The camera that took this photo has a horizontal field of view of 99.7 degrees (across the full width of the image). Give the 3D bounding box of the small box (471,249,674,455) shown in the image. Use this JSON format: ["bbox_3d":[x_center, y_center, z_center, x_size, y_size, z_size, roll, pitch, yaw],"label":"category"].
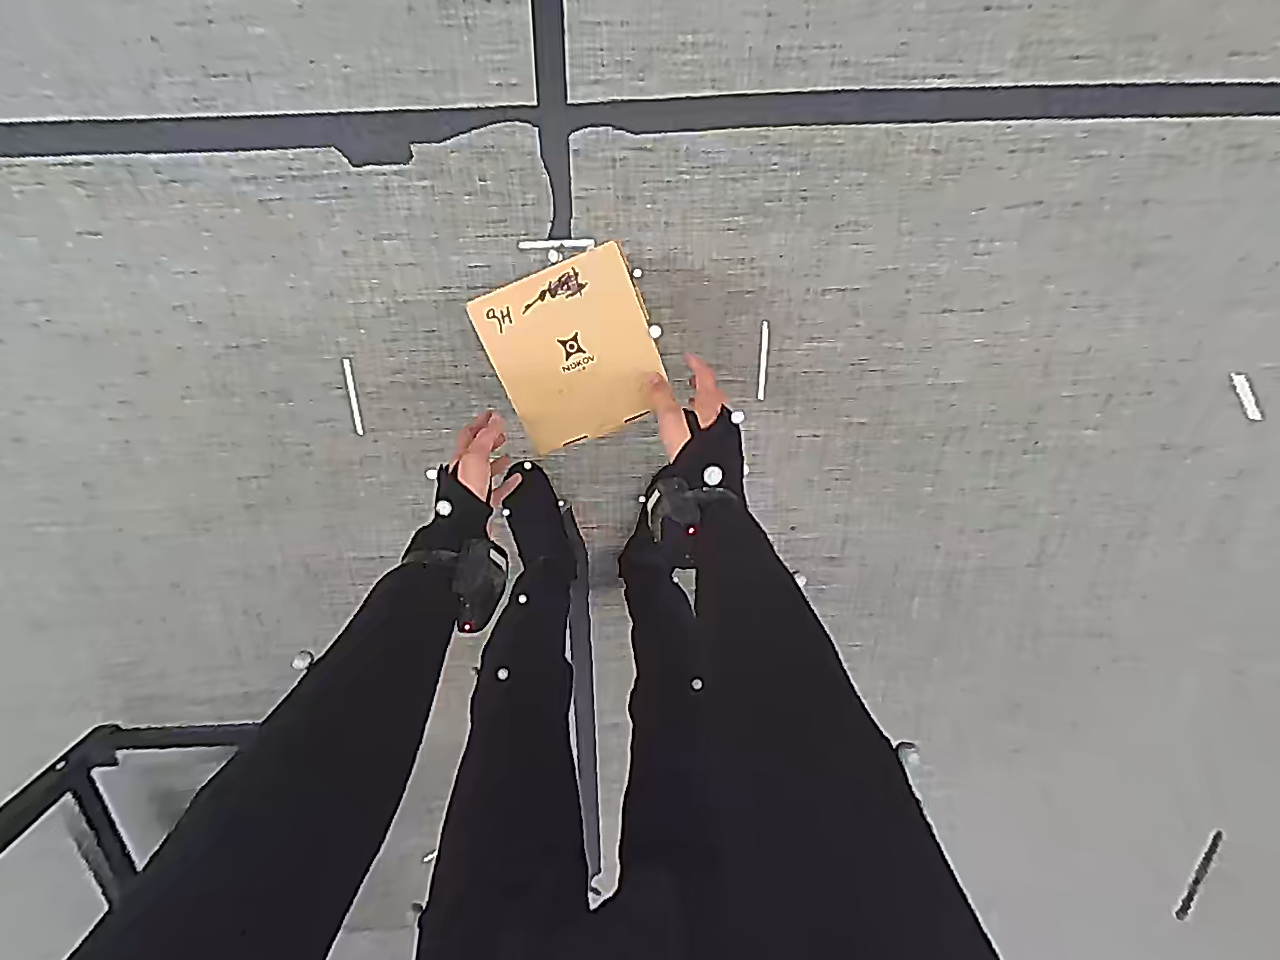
[{"bbox_3d":[-0.069,-0.157,0.641,0.168,0.176,0.179,-21,111,5],"label":"small box"}]
